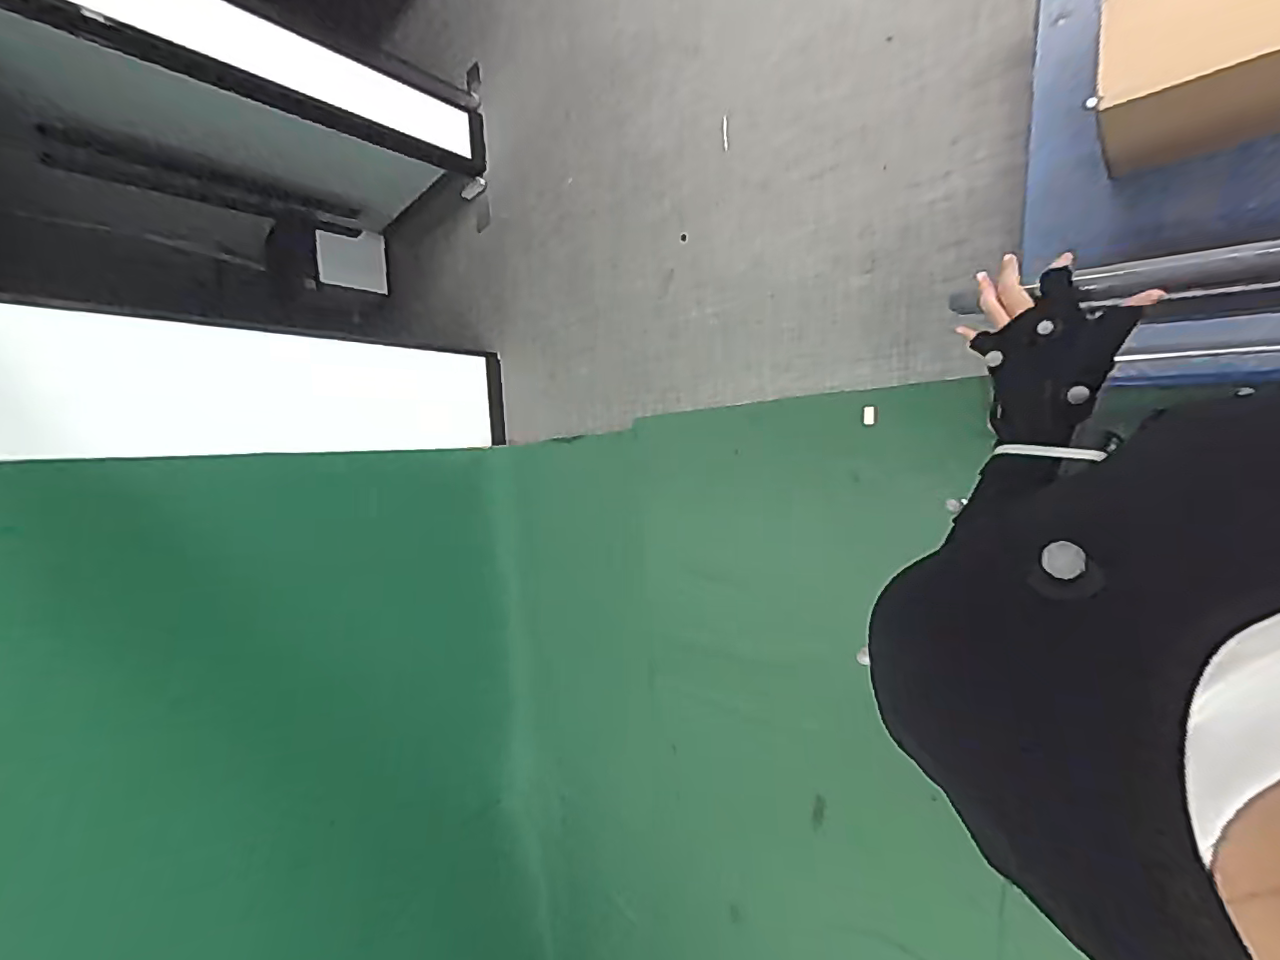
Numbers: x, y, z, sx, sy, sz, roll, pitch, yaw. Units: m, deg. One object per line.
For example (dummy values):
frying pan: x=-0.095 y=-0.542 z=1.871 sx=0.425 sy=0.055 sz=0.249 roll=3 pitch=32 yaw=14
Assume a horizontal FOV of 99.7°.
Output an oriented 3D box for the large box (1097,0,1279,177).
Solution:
large box: x=0.898 y=-0.684 z=0.732 sx=0.408 sy=0.320 sz=0.320 roll=2 pitch=94 yaw=44
